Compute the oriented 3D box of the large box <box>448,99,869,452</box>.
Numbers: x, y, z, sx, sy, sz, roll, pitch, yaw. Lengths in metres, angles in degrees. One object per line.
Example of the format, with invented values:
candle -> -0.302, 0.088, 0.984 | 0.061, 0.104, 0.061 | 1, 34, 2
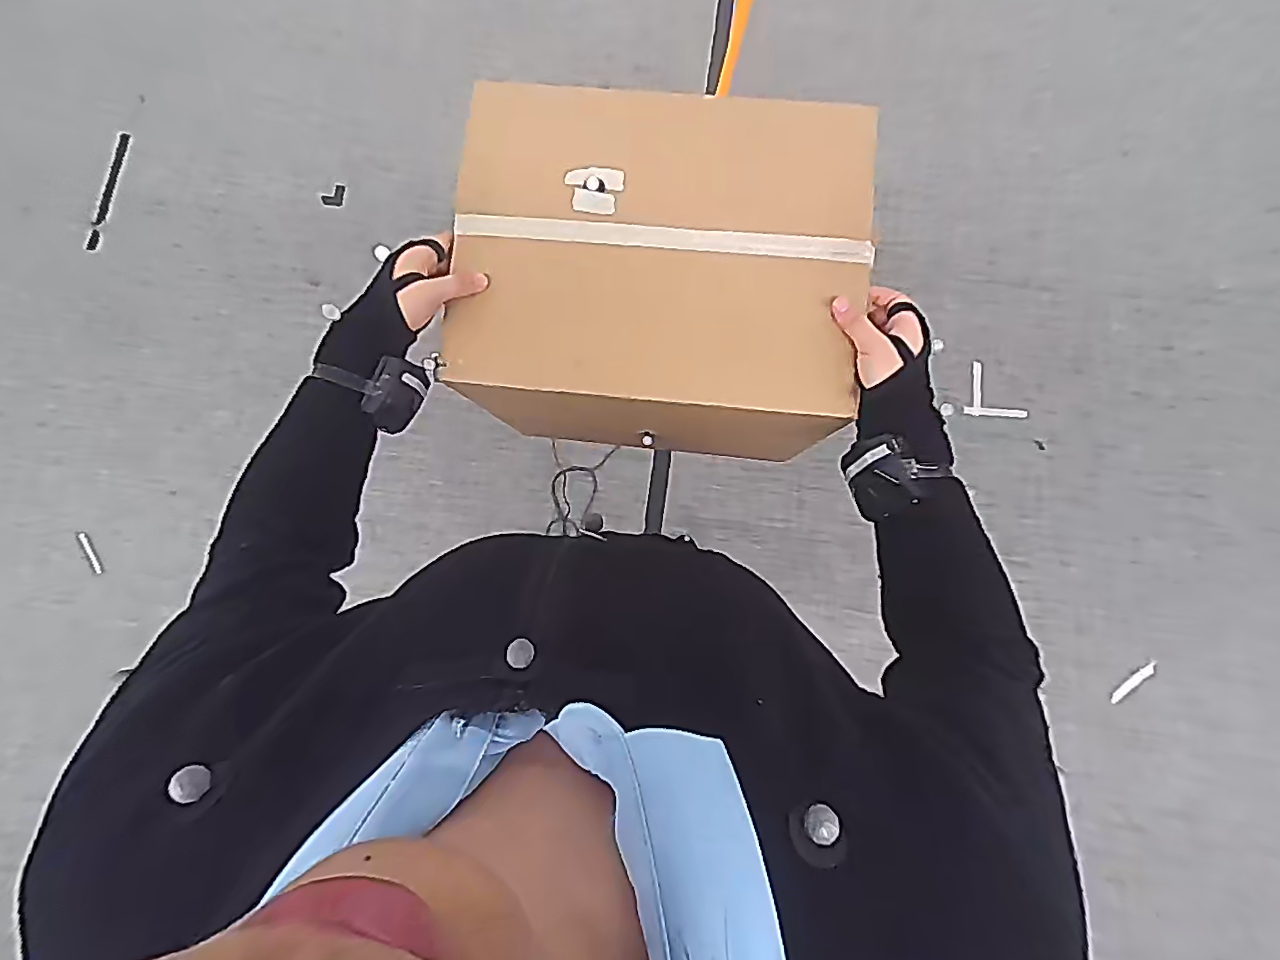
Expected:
large box -> 0.030, -0.217, 0.683 | 0.408, 0.320, 0.320 | 6, 84, 5
